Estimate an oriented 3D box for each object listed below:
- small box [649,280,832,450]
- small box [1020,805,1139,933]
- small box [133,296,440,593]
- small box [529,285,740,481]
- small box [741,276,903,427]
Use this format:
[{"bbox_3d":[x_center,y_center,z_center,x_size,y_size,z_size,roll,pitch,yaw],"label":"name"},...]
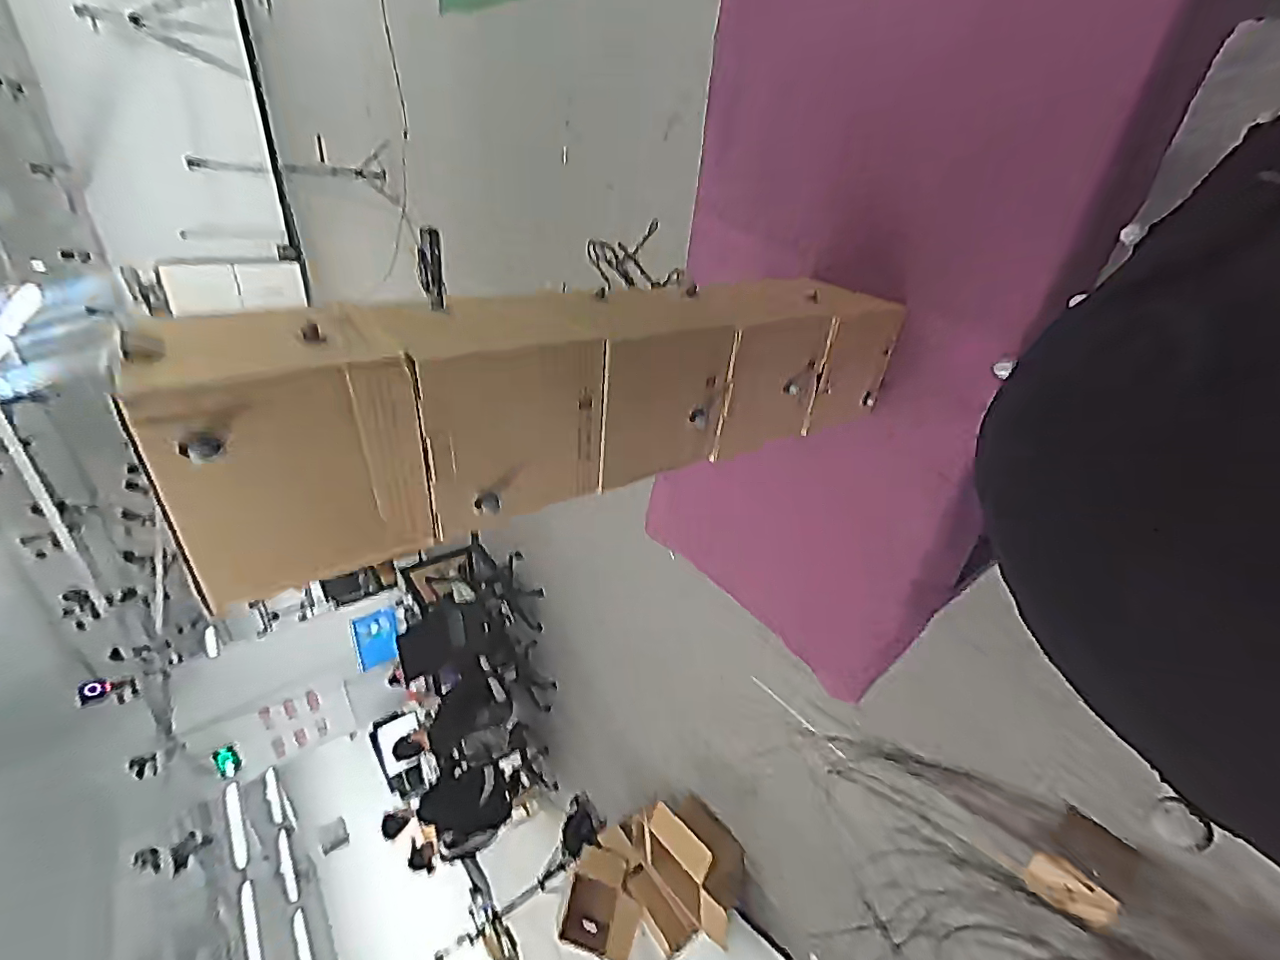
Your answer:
[{"bbox_3d":[0.117,-0.162,0.716,0.179,0.176,0.168,37,133,40],"label":"small box"},{"bbox_3d":[1.129,0.991,1.387,0.168,0.176,0.179,35,131,42],"label":"small box"},{"bbox_3d":[-0.277,-0.044,0.451,0.168,0.176,0.179,38,133,42],"label":"small box"},{"bbox_3d":[-0.014,-0.124,0.627,0.179,0.176,0.168,37,133,40],"label":"small box"},{"bbox_3d":[0.251,-0.200,0.802,0.179,0.176,0.168,38,133,40],"label":"small box"}]
